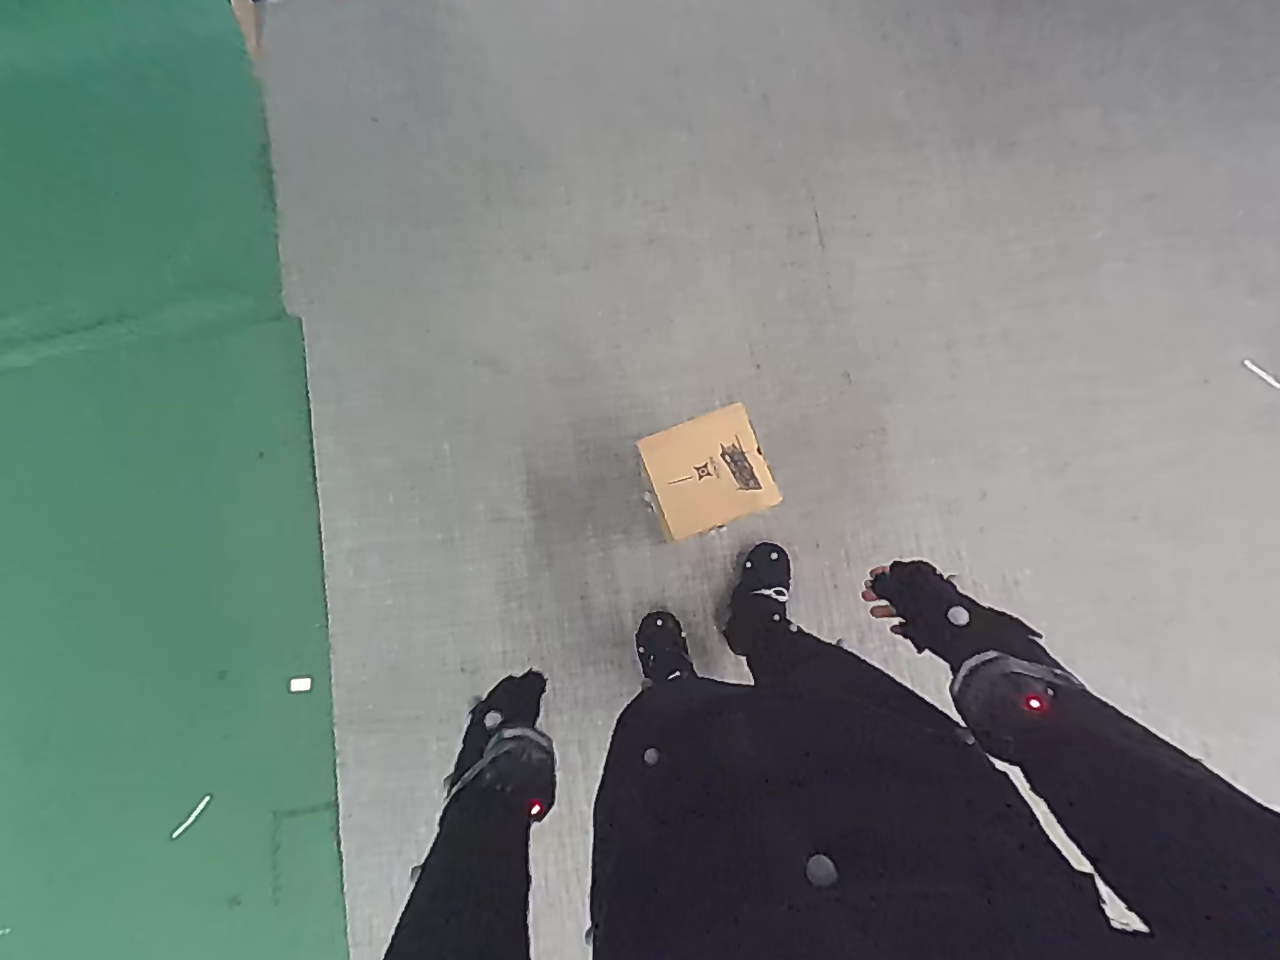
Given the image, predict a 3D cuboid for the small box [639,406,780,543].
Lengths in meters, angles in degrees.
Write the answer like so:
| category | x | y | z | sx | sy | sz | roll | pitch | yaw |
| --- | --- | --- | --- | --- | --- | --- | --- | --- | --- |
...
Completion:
| category | x | y | z | sx | sy | sz | roll | pitch | yaw |
| --- | --- | --- | --- | --- | --- | --- | --- | --- | --- |
| small box | 0.107 | -0.002 | 0.896 | 0.179 | 0.176 | 0.168 | -21 | 82 | 0 |
